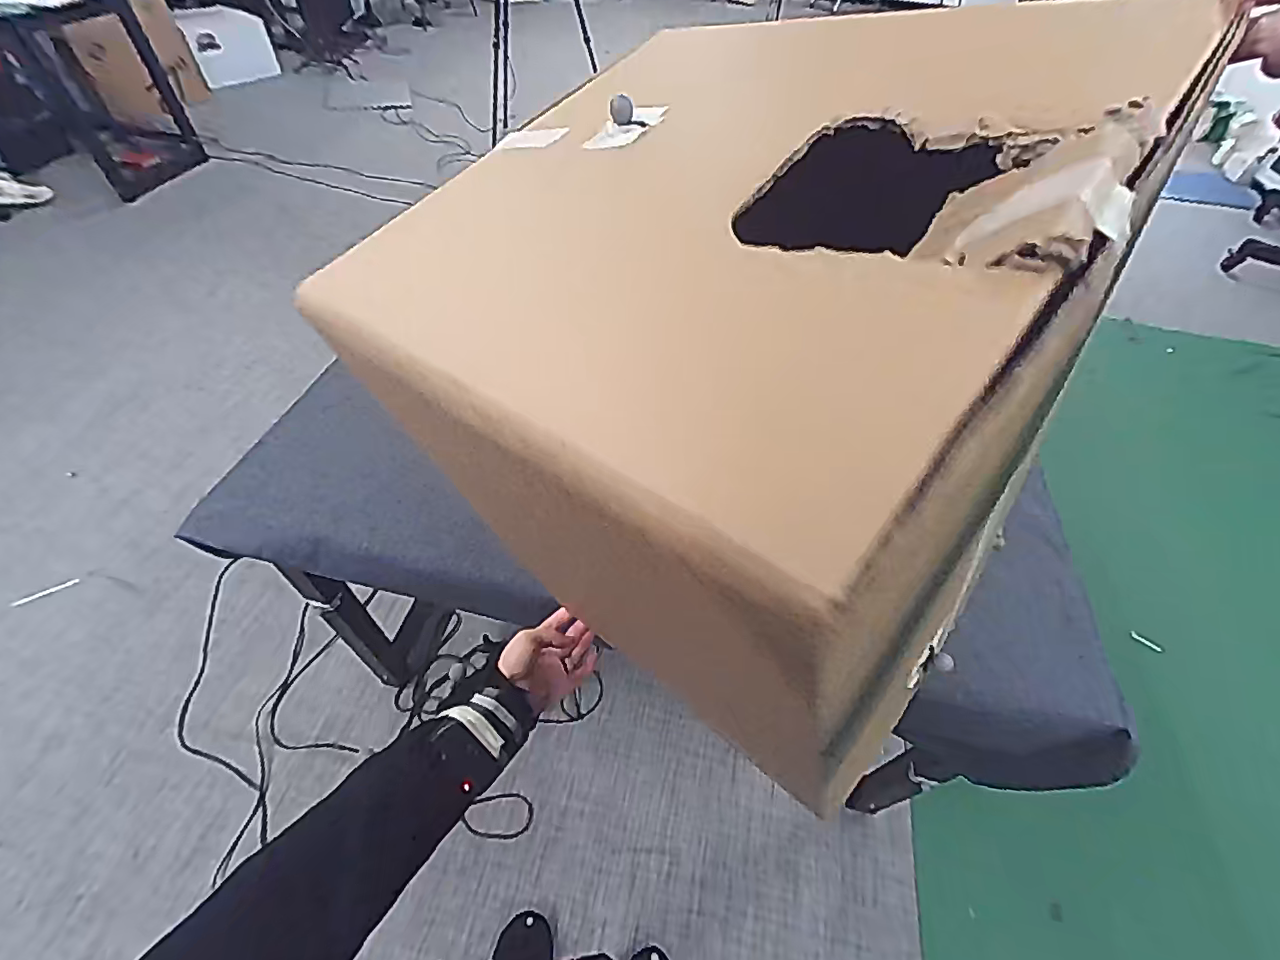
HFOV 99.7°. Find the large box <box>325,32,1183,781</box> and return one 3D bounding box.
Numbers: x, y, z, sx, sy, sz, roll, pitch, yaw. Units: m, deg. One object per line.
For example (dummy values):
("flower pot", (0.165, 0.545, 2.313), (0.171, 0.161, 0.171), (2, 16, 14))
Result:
("large box", (0.077, -0.031, 0.413), (0.320, 0.408, 0.320), (29, 68, 32))
